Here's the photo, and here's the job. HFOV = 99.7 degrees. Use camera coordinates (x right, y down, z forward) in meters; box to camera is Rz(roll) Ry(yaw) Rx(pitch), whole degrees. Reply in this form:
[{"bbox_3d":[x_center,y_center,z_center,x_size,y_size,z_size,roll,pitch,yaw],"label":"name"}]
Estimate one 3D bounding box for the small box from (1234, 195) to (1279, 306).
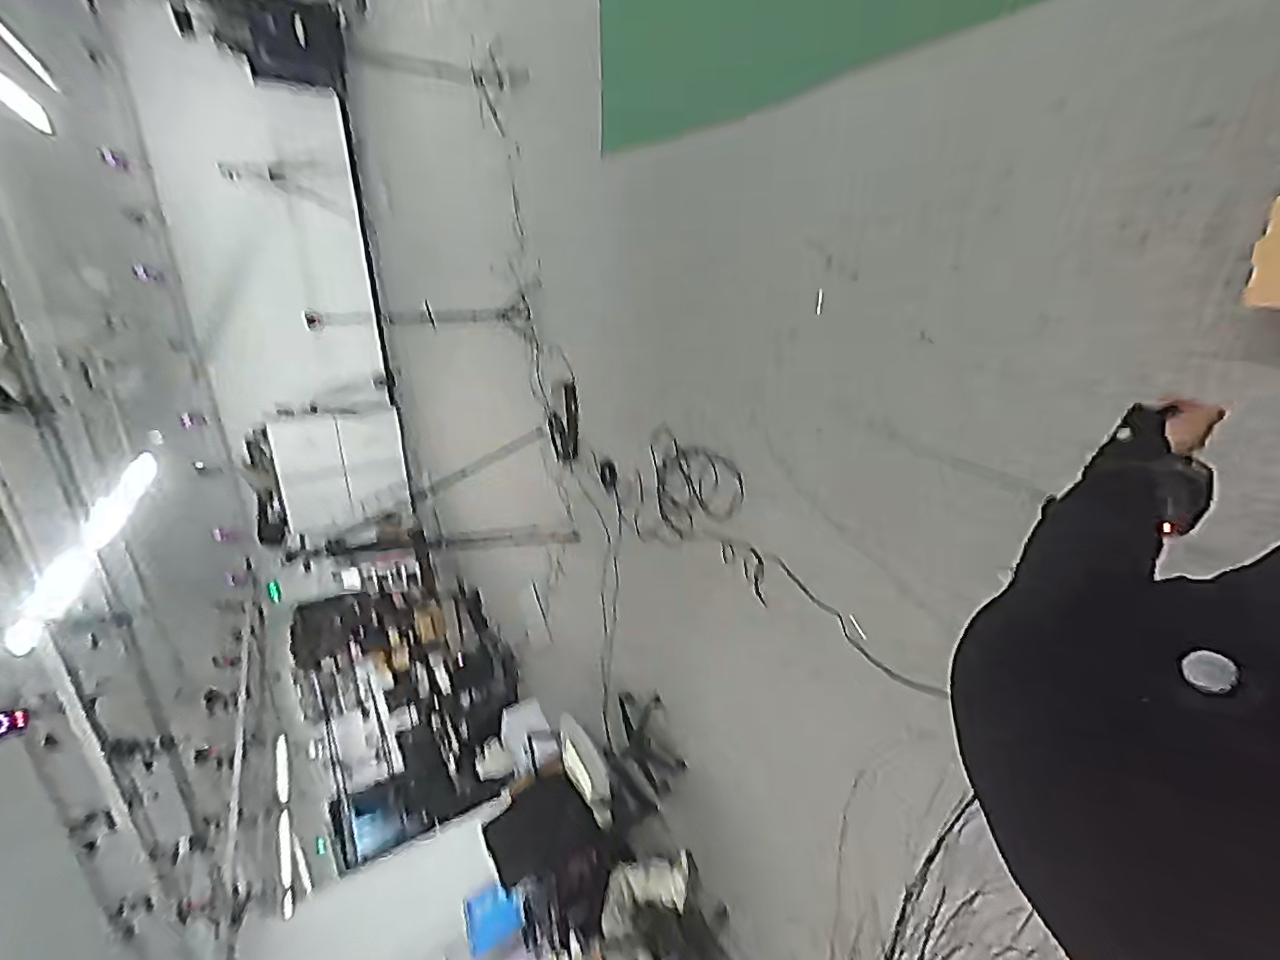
[{"bbox_3d":[1.084,-0.356,0.834,0.179,0.176,0.168,22,121,52],"label":"small box"}]
